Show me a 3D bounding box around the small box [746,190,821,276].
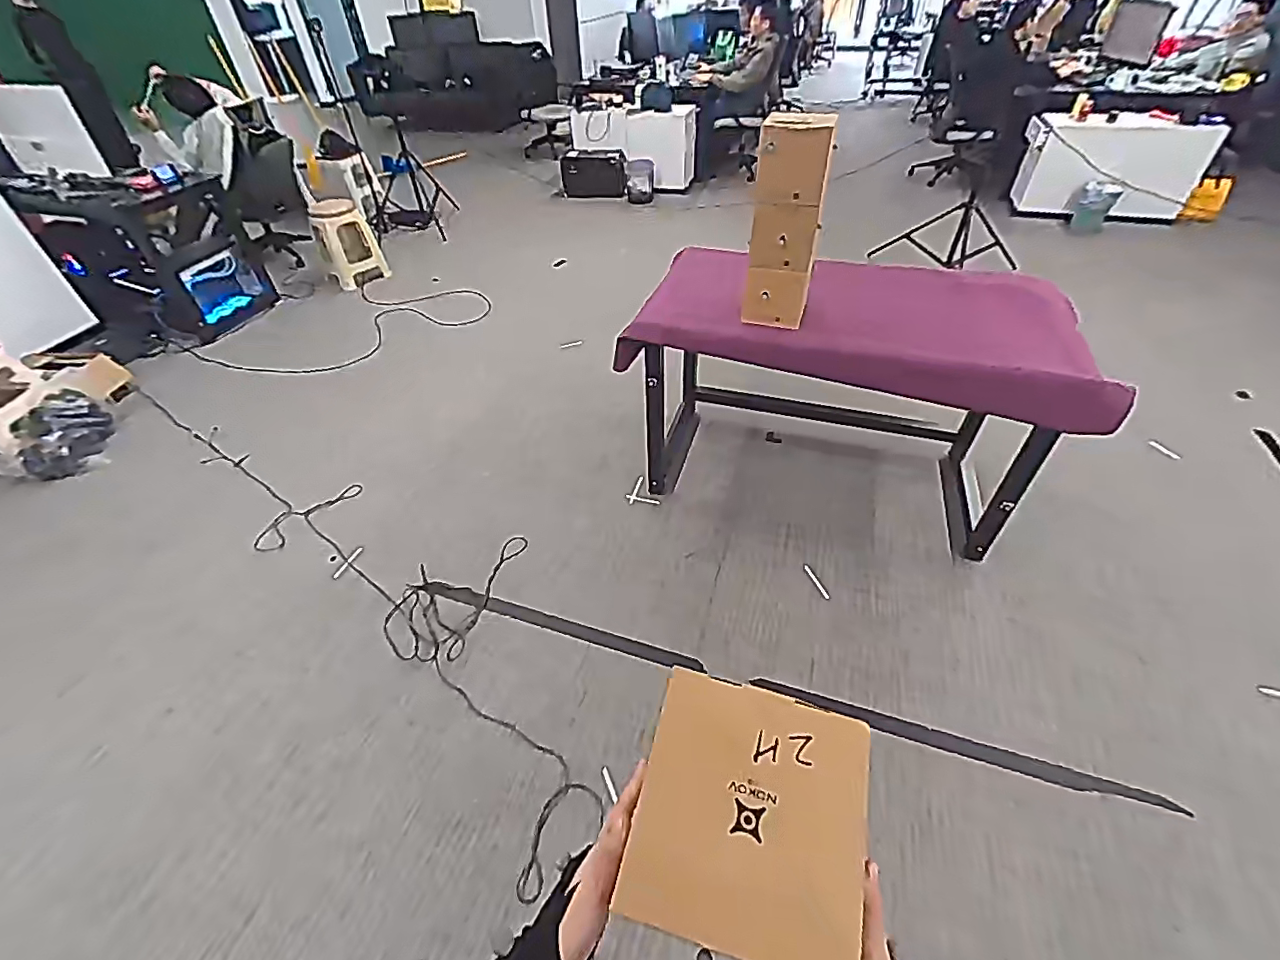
[{"bbox_3d":[0.389,-0.674,1.476,0.168,0.176,0.179,11,45,13],"label":"small box"}]

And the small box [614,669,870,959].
[{"bbox_3d":[0.085,0.297,0.468,0.168,0.176,0.179,14,53,10],"label":"small box"}]

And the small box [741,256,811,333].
[{"bbox_3d":[0.394,-0.550,1.583,0.168,0.176,0.179,12,44,15],"label":"small box"}]
